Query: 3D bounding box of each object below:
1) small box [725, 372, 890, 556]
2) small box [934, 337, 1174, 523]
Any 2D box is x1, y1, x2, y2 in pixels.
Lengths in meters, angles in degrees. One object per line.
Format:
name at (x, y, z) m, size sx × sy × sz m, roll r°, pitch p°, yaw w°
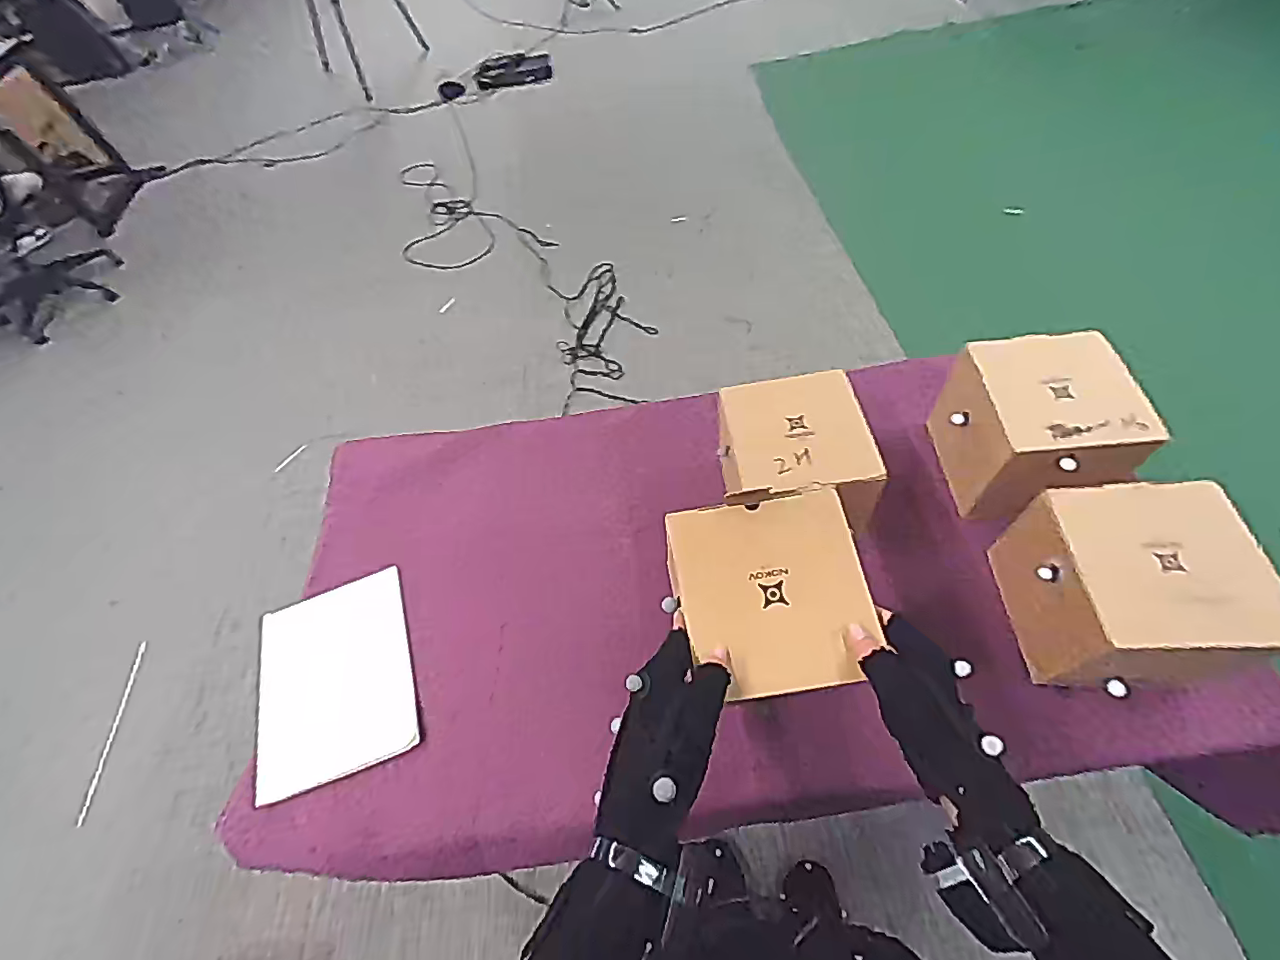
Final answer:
small box at (0.208, -0.017, 0.731) m, size 0.168 × 0.176 × 0.179 m, roll -8°, pitch 57°, yaw 4°
small box at (0.518, -0.061, 0.714) m, size 0.168 × 0.176 × 0.179 m, roll -4°, pitch 57°, yaw 7°
